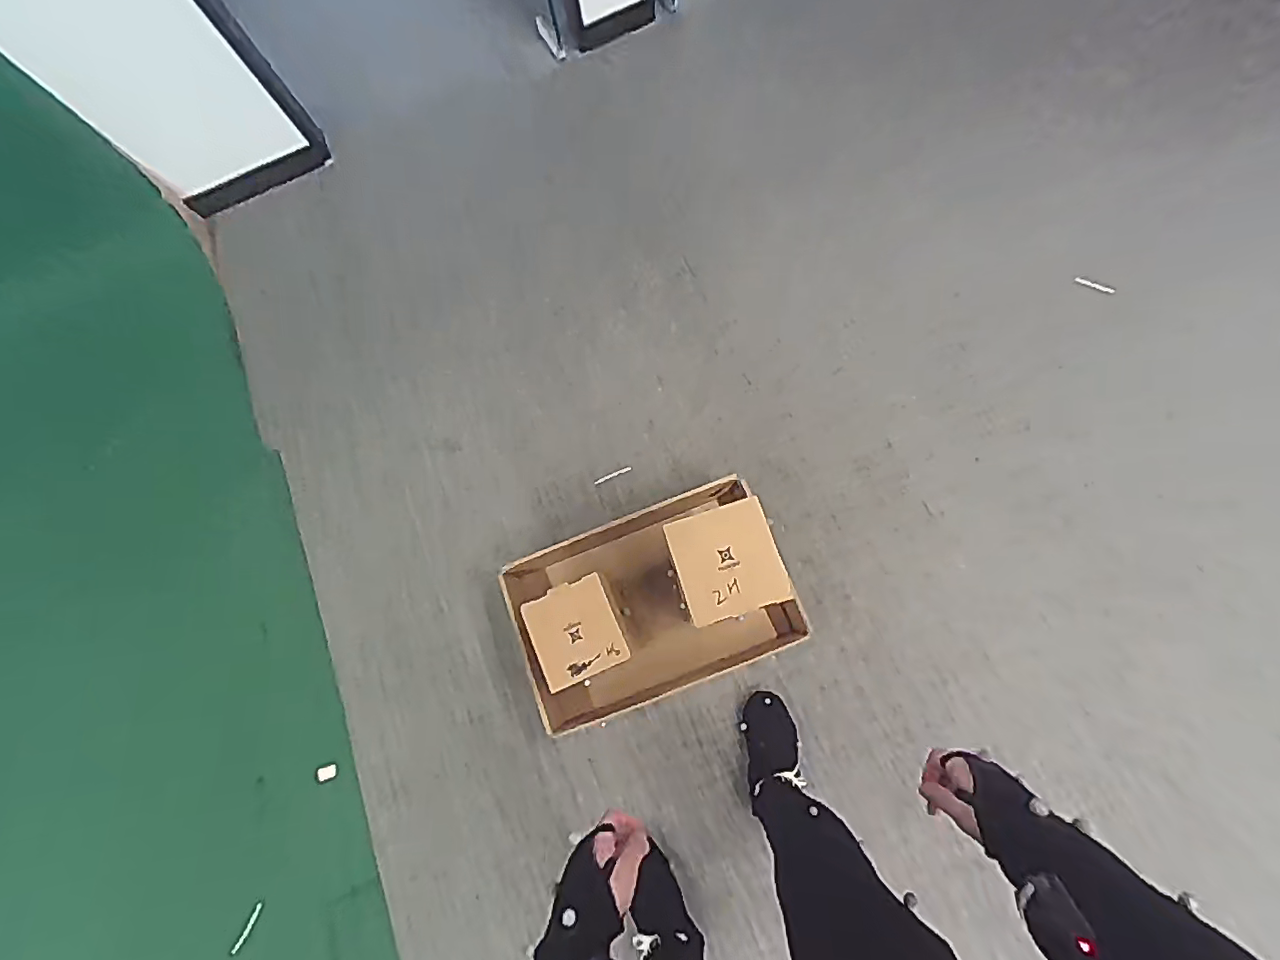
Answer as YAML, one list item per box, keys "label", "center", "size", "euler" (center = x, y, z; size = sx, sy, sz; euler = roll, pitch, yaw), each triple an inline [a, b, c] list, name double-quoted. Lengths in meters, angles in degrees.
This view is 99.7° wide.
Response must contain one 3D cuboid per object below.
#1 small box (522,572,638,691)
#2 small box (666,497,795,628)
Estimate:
- label: "small box"
  center: [-0.115, 0.303, 1.093]
  size: [0.168, 0.176, 0.179]
  euler: [-24, 75, 0]
- label: "small box"
  center: [0.147, 0.148, 0.938]
  size: [0.168, 0.176, 0.179]
  euler: [-17, 77, 1]
